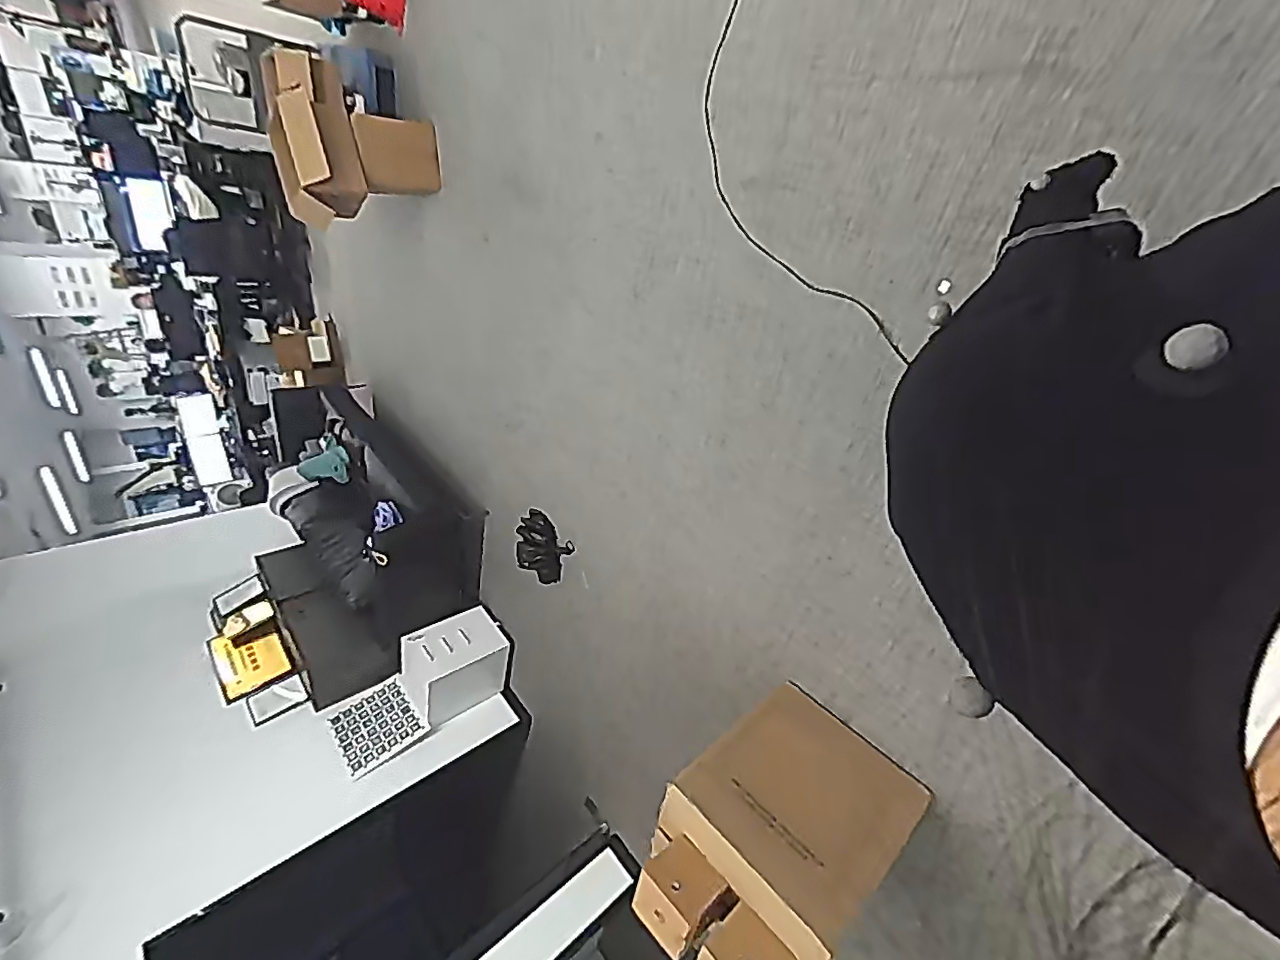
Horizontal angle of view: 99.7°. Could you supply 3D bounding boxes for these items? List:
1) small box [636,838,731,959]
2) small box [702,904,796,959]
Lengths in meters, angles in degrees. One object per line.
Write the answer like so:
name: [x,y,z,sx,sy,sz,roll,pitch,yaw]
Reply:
small box: [0.120,1.131,1.469,0.179,0.176,0.168,30,118,40]
small box: [0.264,1.218,1.336,0.179,0.176,0.168,31,119,38]
